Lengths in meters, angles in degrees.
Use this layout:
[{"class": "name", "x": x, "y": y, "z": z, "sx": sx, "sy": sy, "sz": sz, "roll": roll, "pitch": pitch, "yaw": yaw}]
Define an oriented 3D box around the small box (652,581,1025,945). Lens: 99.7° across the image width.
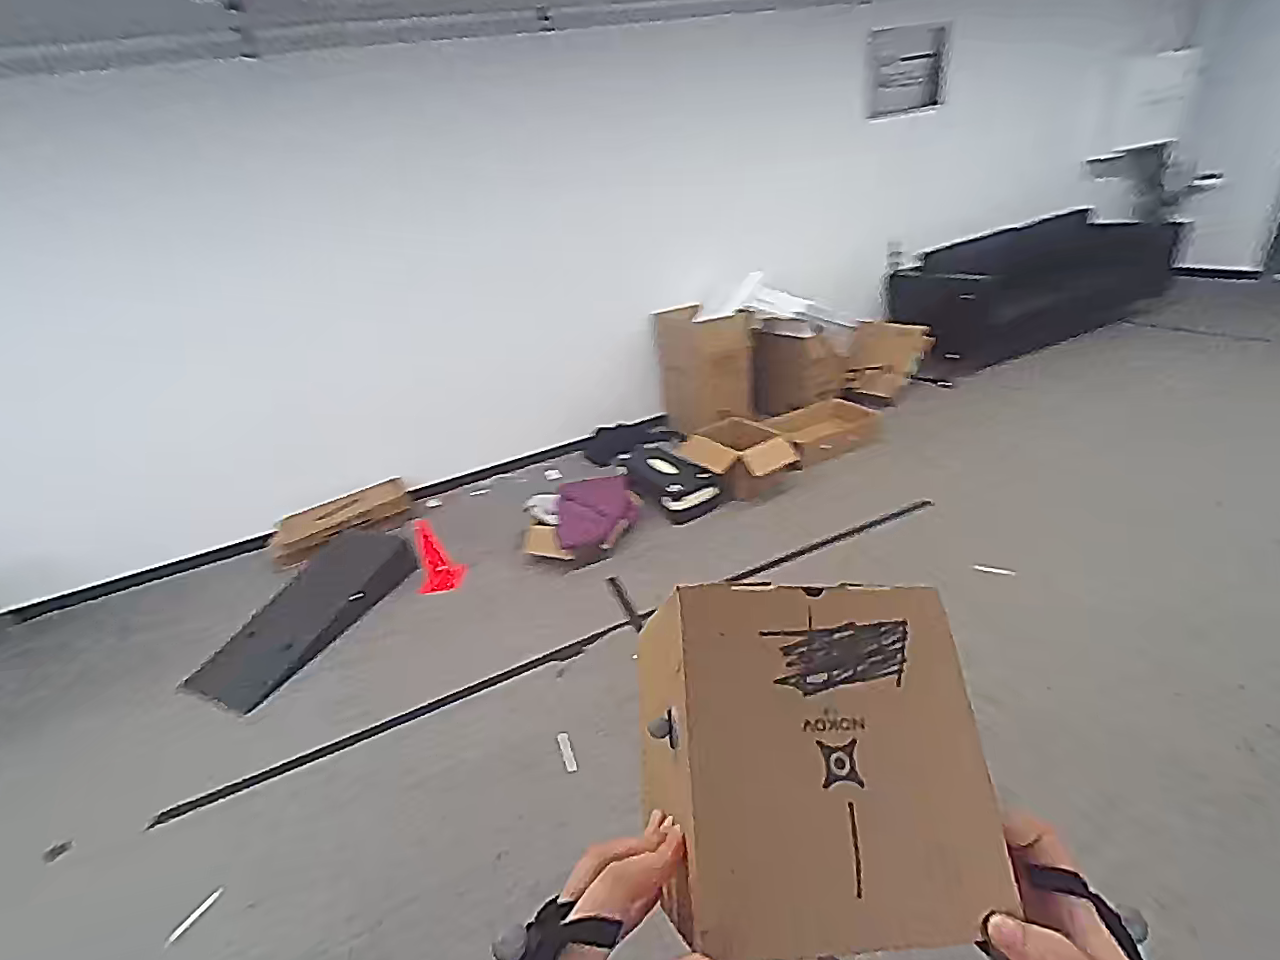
[{"class": "small box", "x": 0.101, "y": 0.177, "z": 0.369, "sx": 0.168, "sy": 0.176, "sz": 0.179, "roll": 2, "pitch": 64, "yaw": -7}]
